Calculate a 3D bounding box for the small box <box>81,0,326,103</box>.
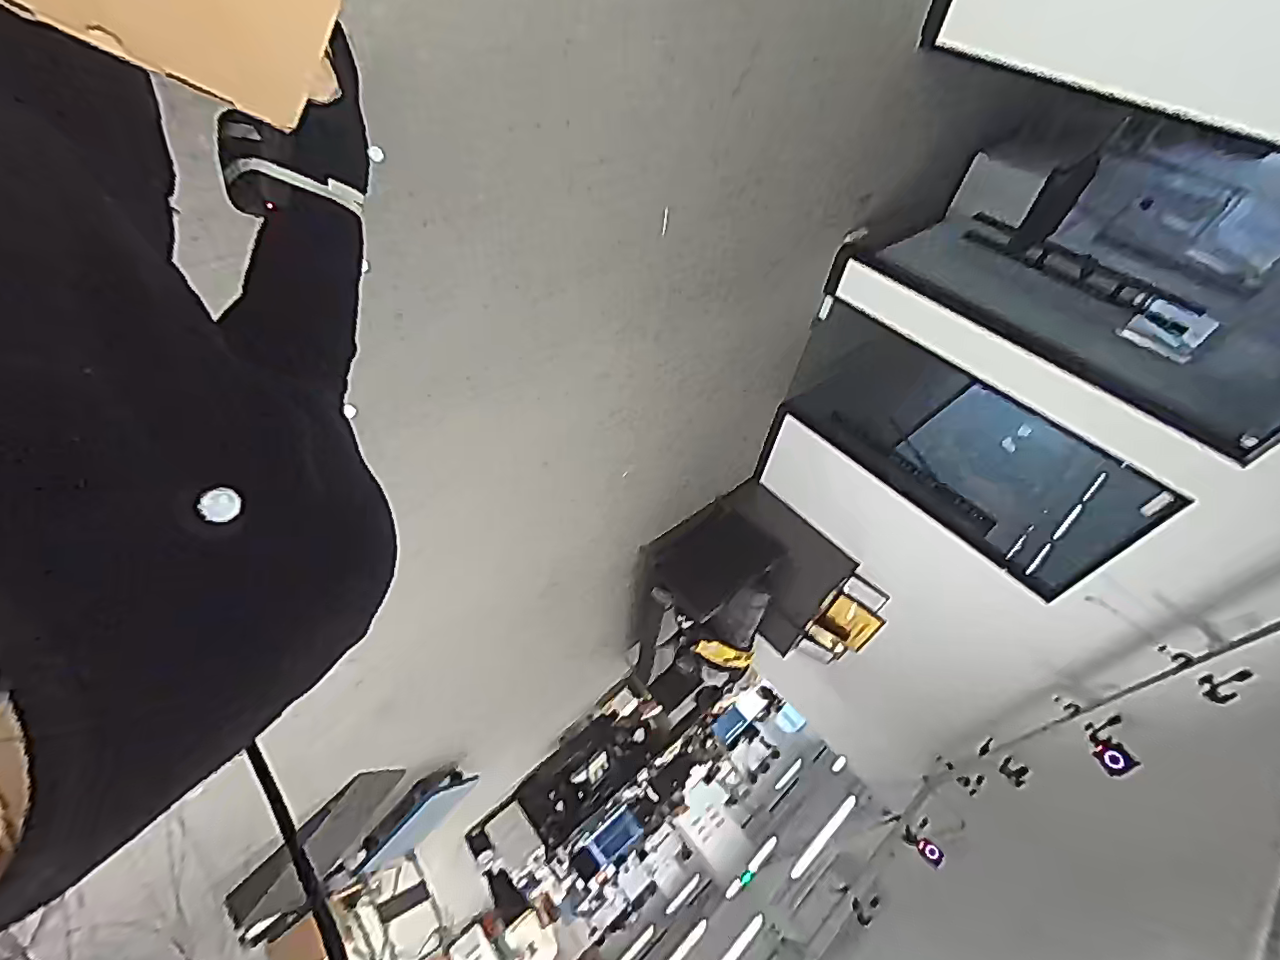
[{"bbox_3d":[-0.238,-0.326,0.229,0.179,0.176,0.168,-48,158,24],"label":"small box"}]
